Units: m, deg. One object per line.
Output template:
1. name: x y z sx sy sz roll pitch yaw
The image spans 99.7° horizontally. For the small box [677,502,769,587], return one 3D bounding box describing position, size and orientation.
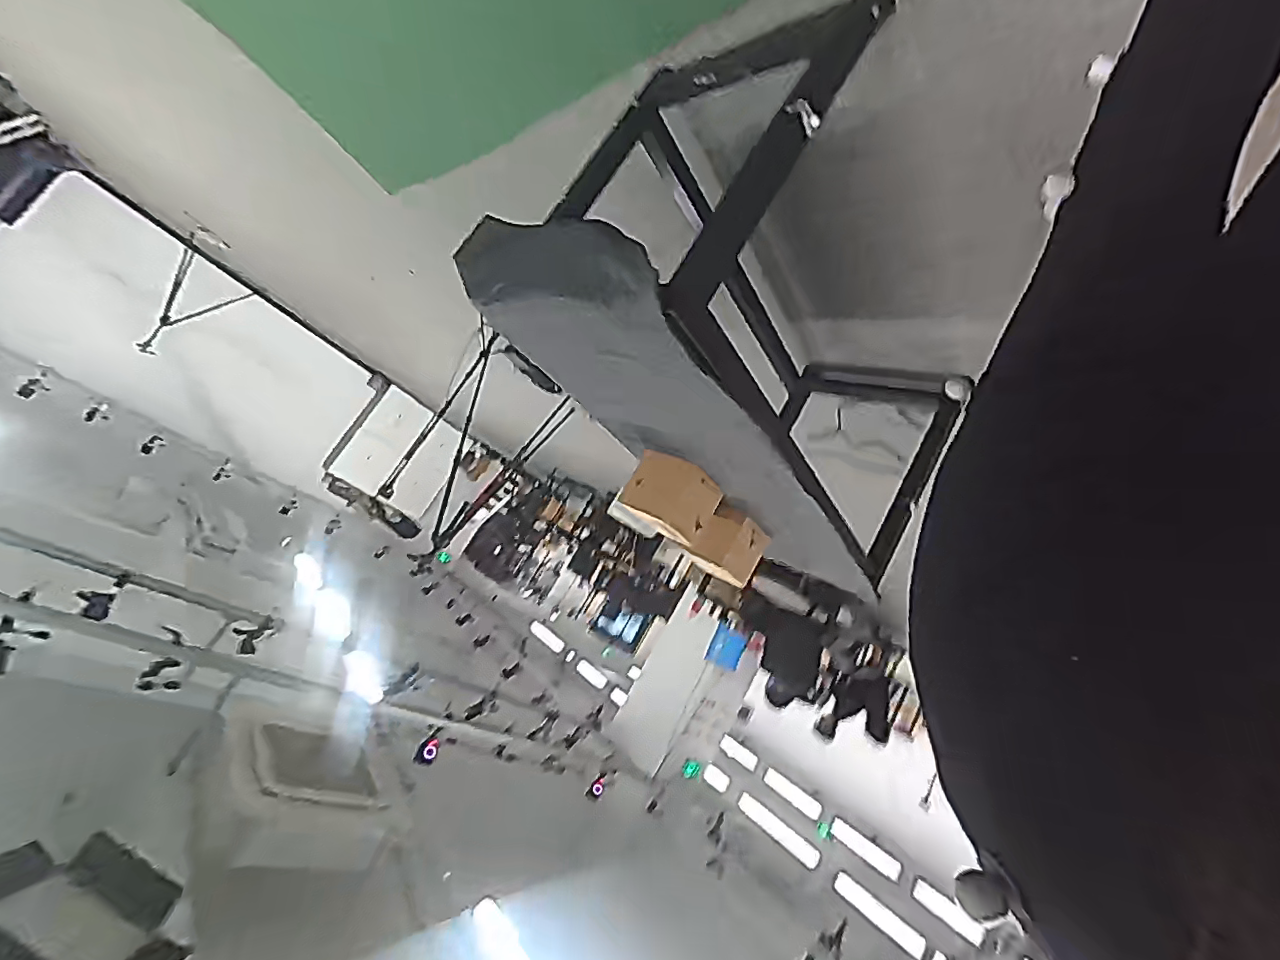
1. small box: 0.249 0.184 1.595 0.179 0.176 0.168 19 163 45
